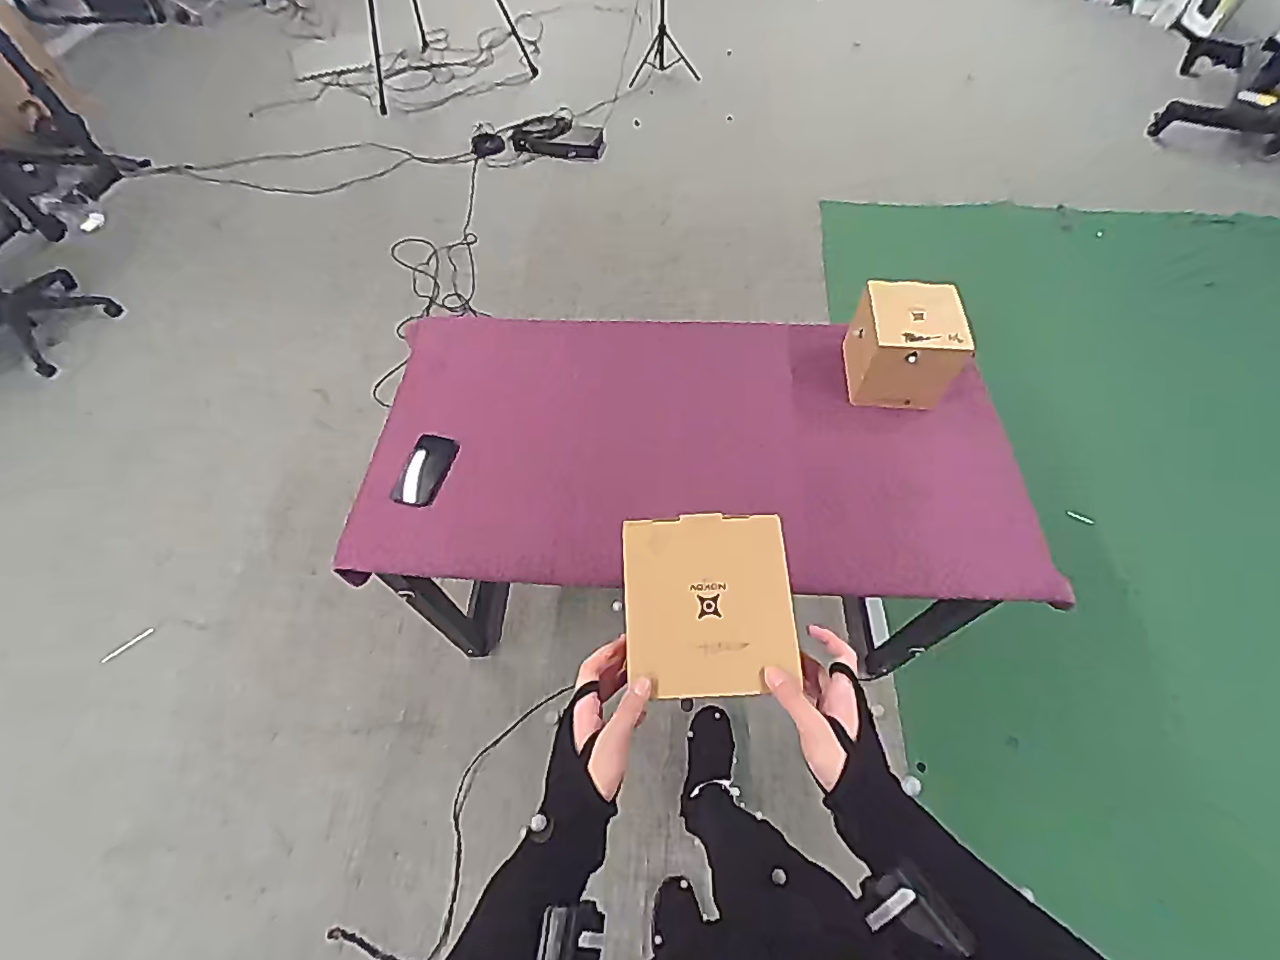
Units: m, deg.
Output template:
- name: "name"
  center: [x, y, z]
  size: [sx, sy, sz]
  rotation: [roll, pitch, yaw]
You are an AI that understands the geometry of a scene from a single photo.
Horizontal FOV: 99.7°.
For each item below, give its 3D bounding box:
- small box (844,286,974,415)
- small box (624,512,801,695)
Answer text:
- name: "small box"
  center: [0.511, -0.252, 1.058]
  size: [0.168, 0.176, 0.179]
  rotation: [4, 57, 5]
- name: "small box"
  center: [0.066, 0.144, 0.604]
  size: [0.168, 0.176, 0.179]
  rotation: [-2, 69, 0]
